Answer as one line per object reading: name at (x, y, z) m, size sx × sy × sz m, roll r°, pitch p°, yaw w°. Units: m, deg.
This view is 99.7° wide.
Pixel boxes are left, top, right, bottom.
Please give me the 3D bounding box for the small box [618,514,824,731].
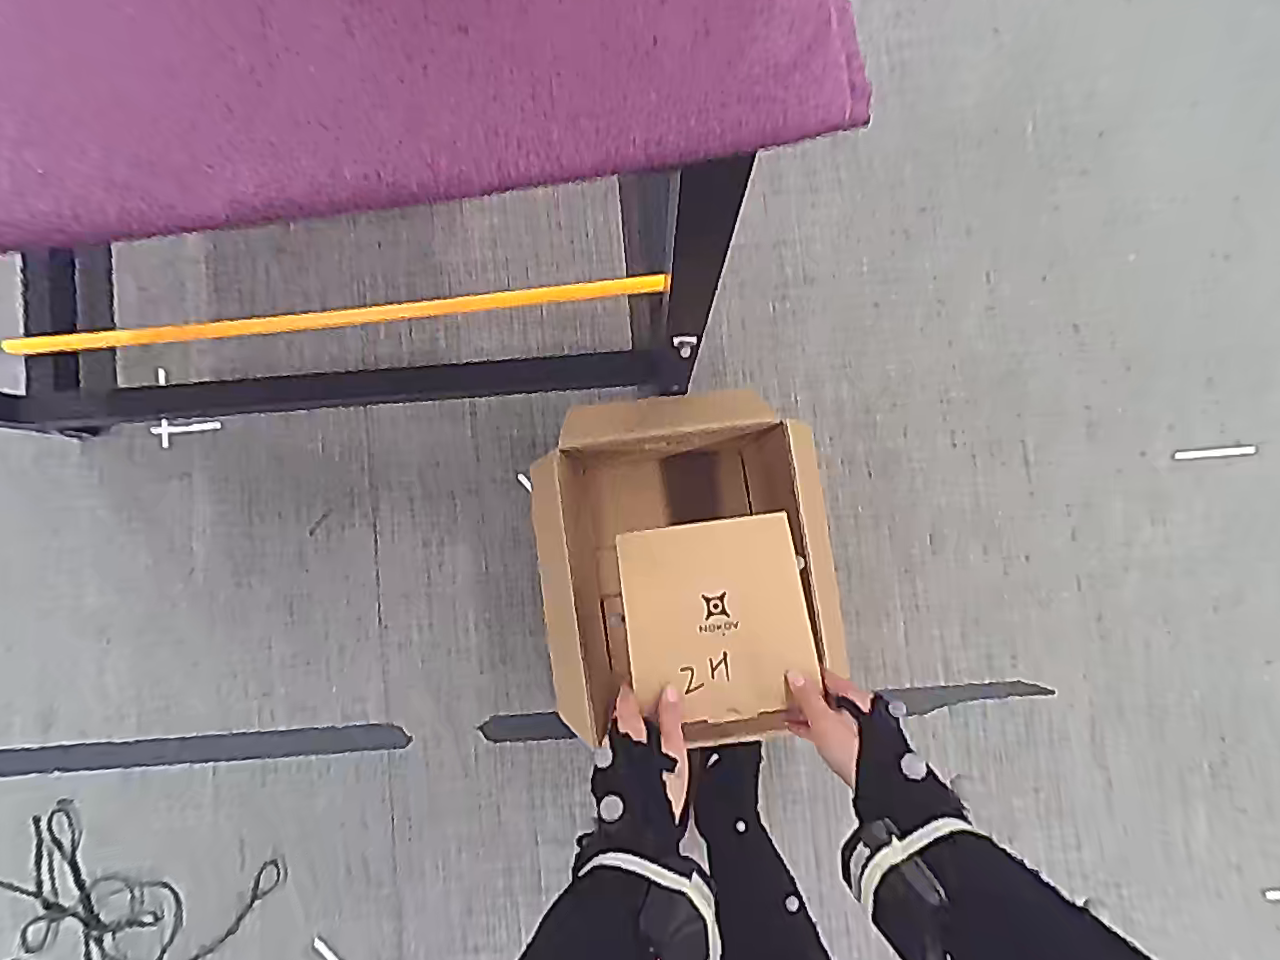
small box at (0.070, 0.146, 0.562) m, size 0.168 × 0.176 × 0.179 m, roll -8°, pitch 74°, yaw 0°
